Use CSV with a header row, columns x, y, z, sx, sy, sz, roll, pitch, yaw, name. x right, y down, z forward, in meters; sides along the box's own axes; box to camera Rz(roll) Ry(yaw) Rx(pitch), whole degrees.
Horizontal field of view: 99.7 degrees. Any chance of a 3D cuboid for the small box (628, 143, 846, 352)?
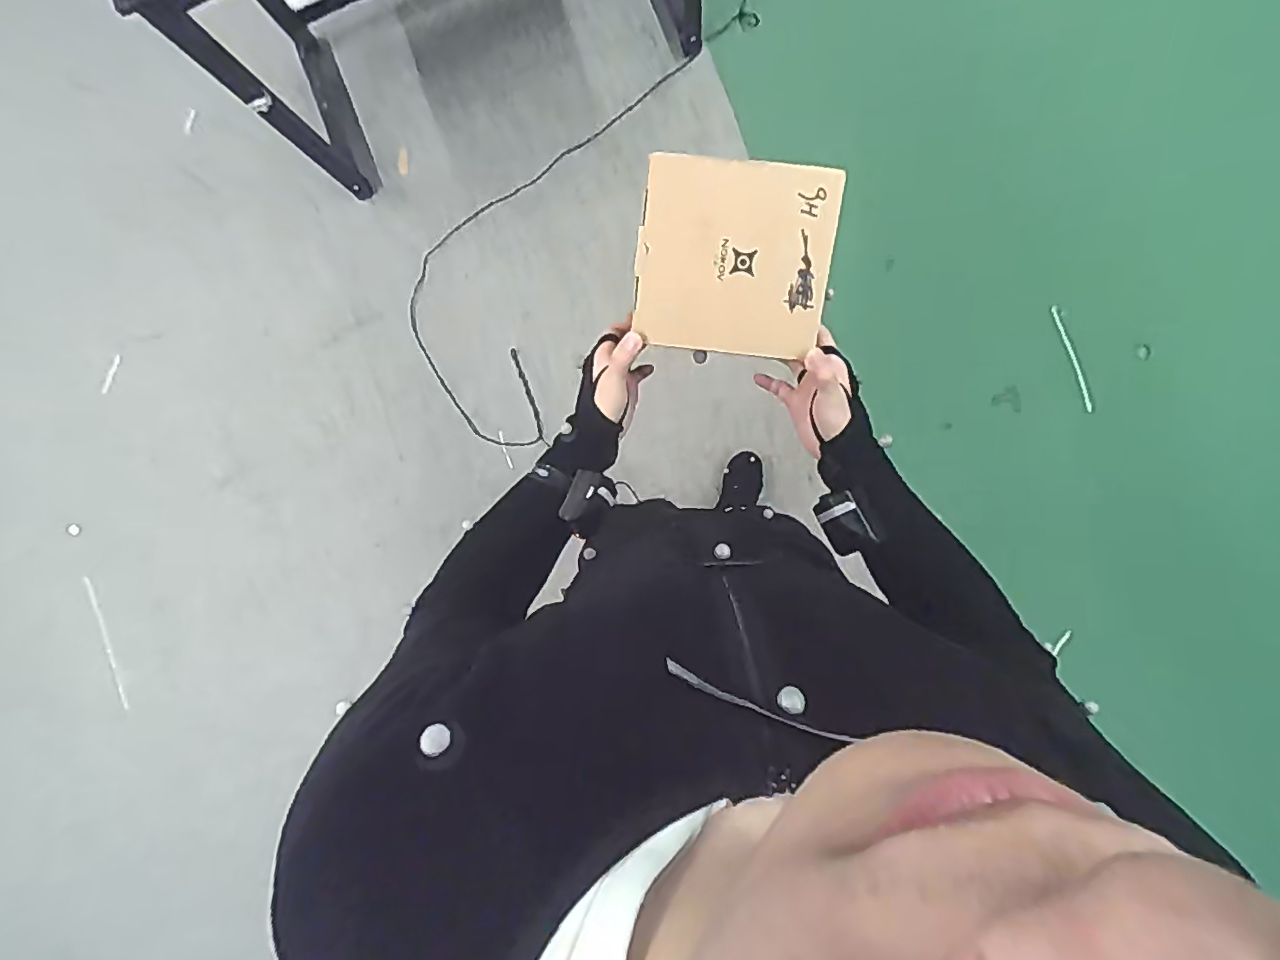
x,y,z,sx,sy,sz,roll,pitch,yaw,name
0.090,-0.225,0.564,0.179,0.176,0.168,7,105,3,small box
